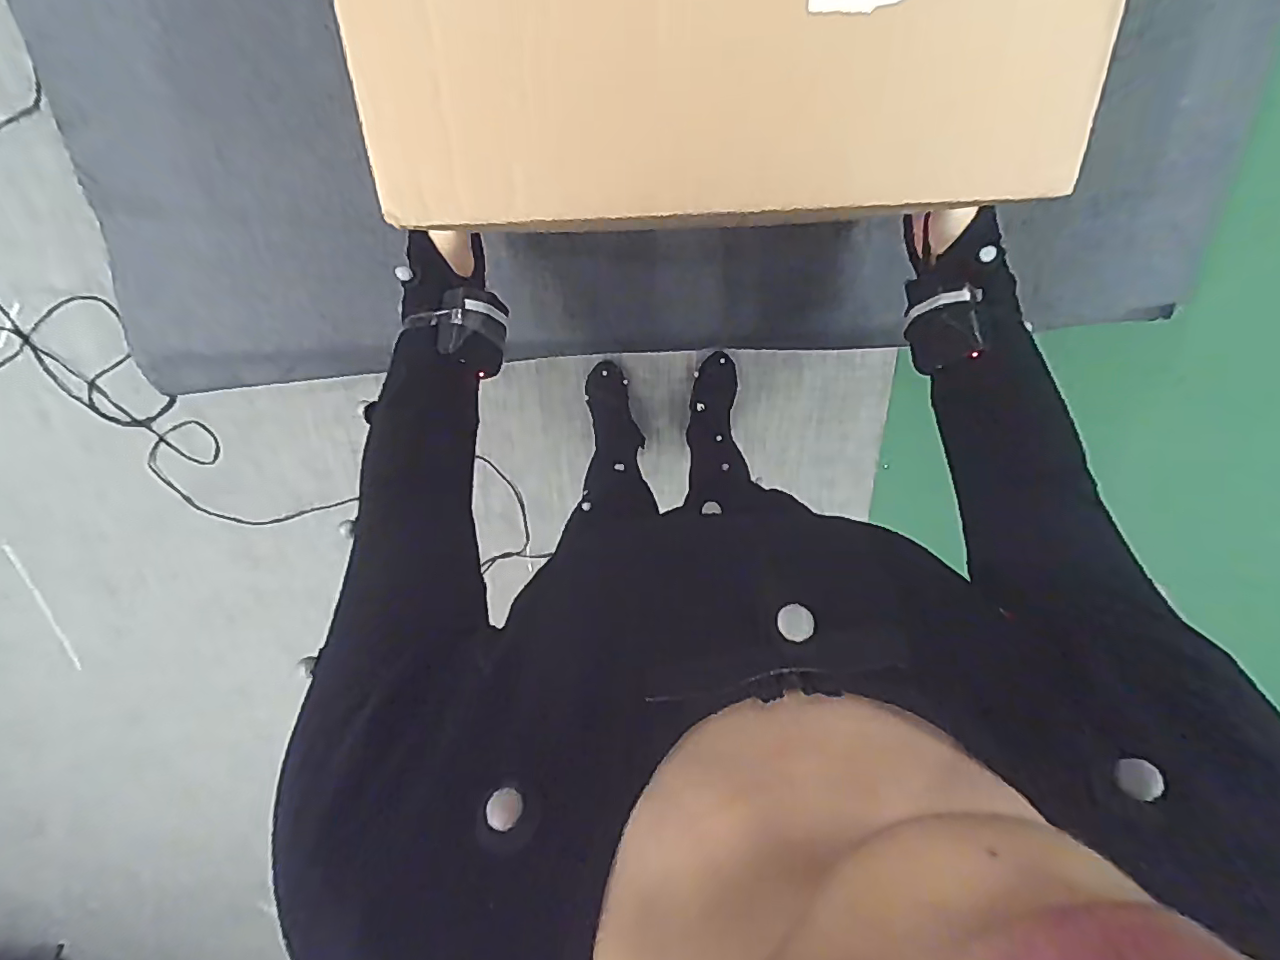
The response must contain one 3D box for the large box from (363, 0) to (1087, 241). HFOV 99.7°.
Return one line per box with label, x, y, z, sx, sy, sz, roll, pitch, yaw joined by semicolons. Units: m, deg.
large box;0.041;-0.367;0.413;0.408;0.320;0.320;-3;114;0
